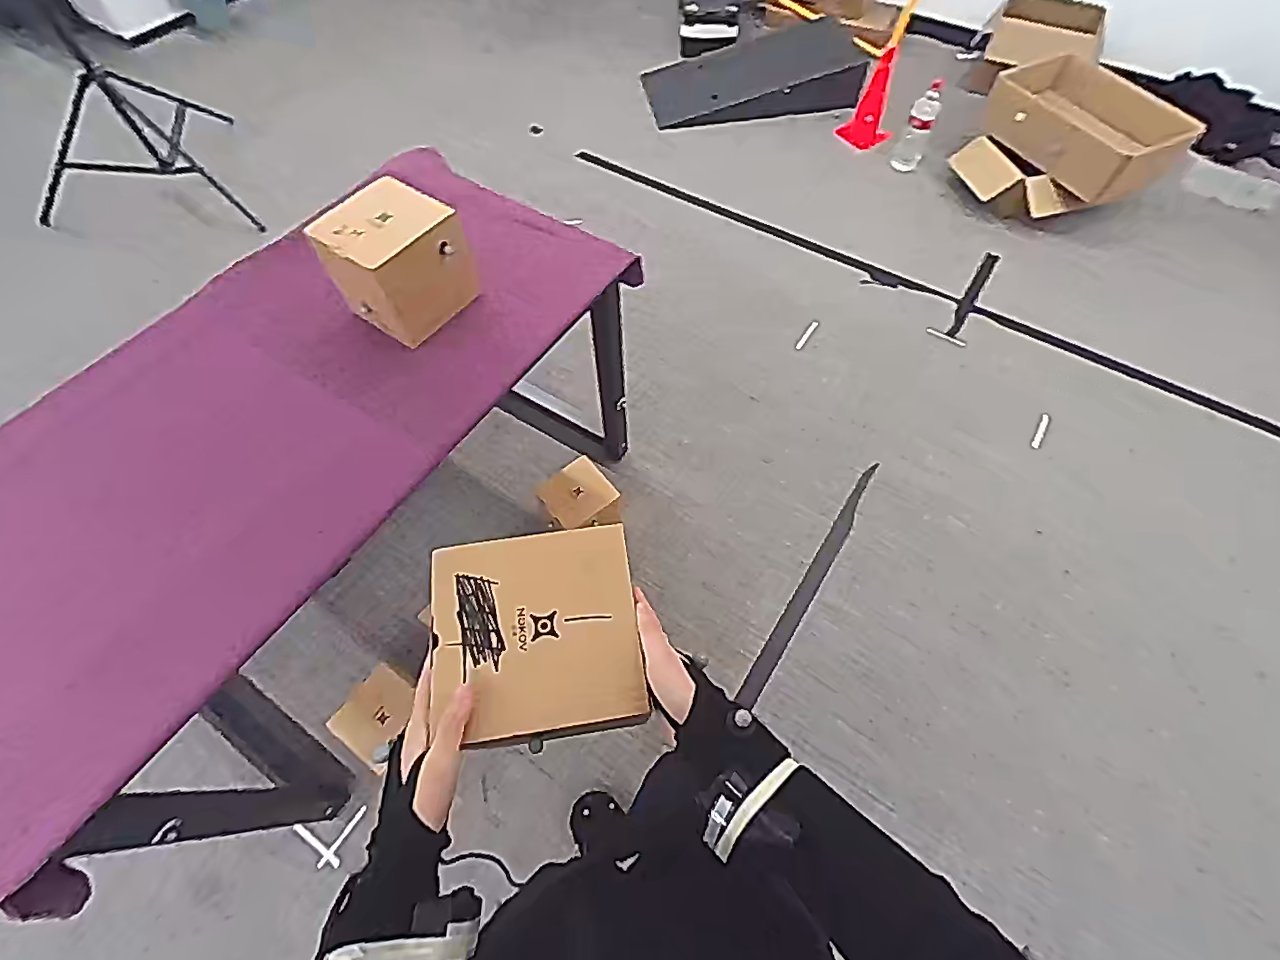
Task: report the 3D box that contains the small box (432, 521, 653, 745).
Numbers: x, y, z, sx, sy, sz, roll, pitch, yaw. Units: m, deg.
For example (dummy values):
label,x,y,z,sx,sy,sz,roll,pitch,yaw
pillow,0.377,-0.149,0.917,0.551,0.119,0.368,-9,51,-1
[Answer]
label,x,y,z,sx,sy,sz,roll,pitch,yaw
small box,-0.084,0.156,0.526,0.179,0.176,0.168,-7,64,-4

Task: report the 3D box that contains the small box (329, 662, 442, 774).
label,x,y,z,sx,sy,sz,roll,pitch,yaw
small box,-0.560,0.553,1.246,0.179,0.176,0.168,31,66,17

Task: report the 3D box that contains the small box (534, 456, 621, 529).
label,x,y,z,sx,sy,sz,roll,pitch,yaw
small box,-0.168,0.071,1.510,0.179,0.176,0.168,-36,68,-16

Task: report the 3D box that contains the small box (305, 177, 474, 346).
label,x,y,z,sx,sy,sz,roll,pitch,yaw
small box,-0.406,-0.366,0.916,0.168,0.176,0.179,31,66,17
